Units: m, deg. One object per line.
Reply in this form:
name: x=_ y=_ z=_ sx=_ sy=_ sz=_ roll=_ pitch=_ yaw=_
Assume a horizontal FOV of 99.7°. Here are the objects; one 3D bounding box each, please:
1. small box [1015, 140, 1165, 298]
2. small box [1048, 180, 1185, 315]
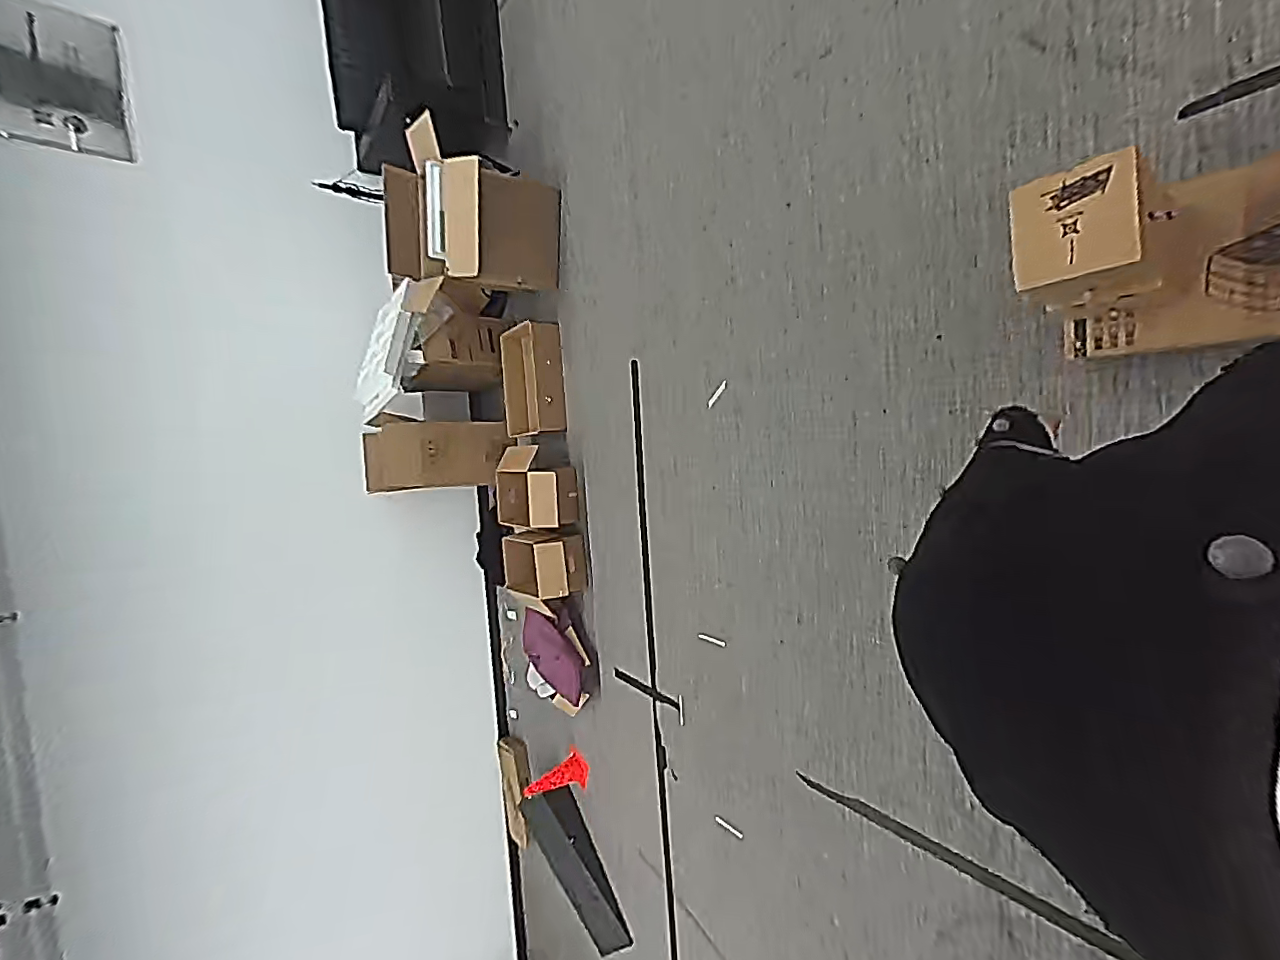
small box: x=0.758 y=-0.423 z=0.912 sx=0.168 sy=0.176 sz=0.179 roll=-1 pitch=94 yaw=52
small box: x=0.889 y=-0.421 z=1.012 sx=0.168 sy=0.176 sz=0.179 roll=1 pitch=96 yaw=52
